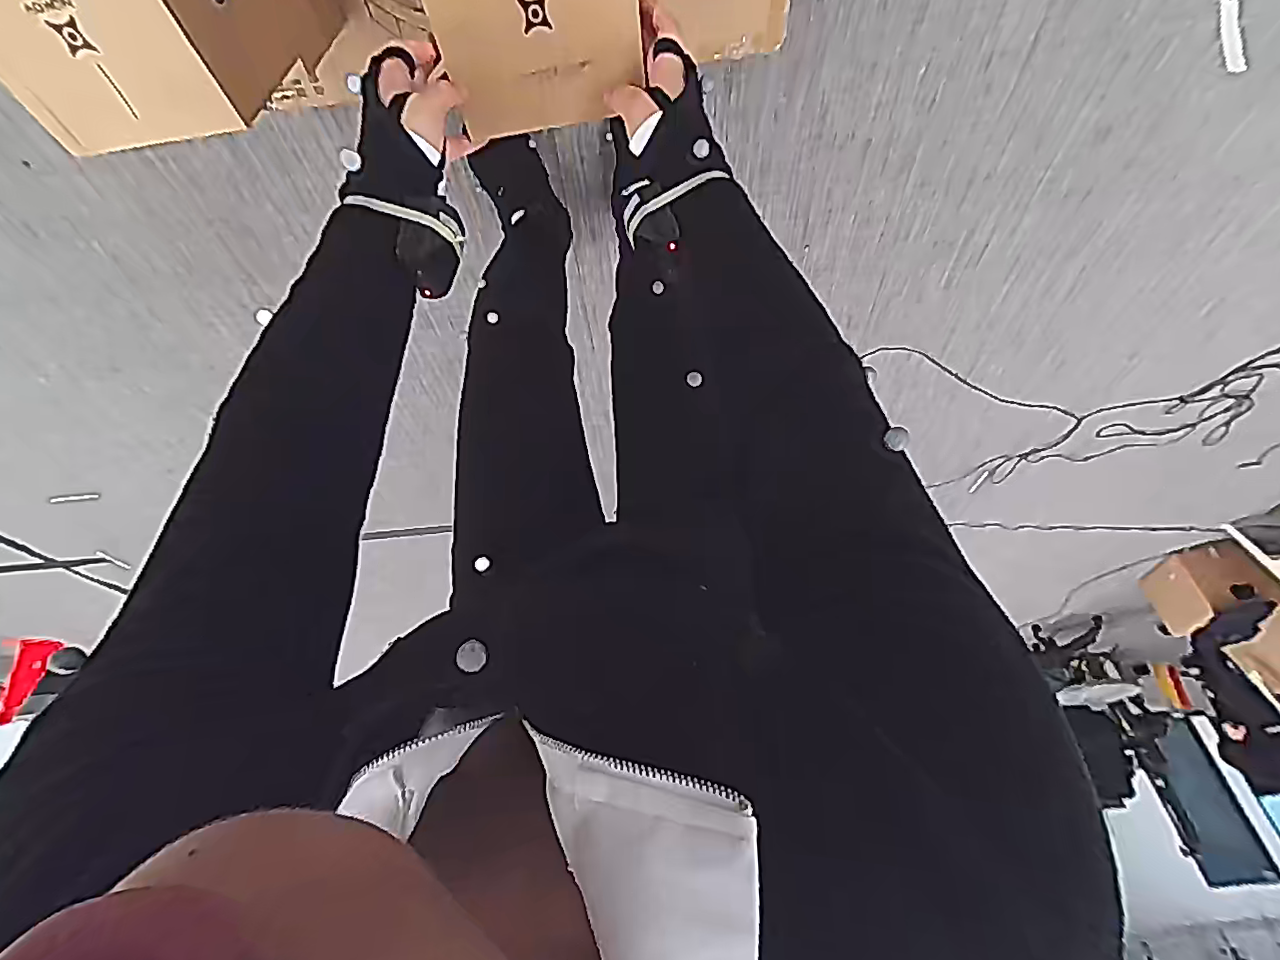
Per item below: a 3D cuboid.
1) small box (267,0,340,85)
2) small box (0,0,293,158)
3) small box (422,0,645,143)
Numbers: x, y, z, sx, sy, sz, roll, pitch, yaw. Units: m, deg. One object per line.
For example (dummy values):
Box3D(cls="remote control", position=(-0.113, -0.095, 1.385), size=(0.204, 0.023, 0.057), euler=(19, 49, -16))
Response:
Box3D(cls="small box", position=(-0.448, -0.537, 0.561), size=(0.168, 0.176, 0.179), euler=(-6, 146, 1))
Box3D(cls="small box", position=(-0.439, -0.411, 0.456), size=(0.168, 0.176, 0.179), euler=(-7, 146, 2))
Box3D(cls="small box", position=(-0.093, -0.433, 0.462), size=(0.168, 0.176, 0.179), euler=(-8, 150, 2))
